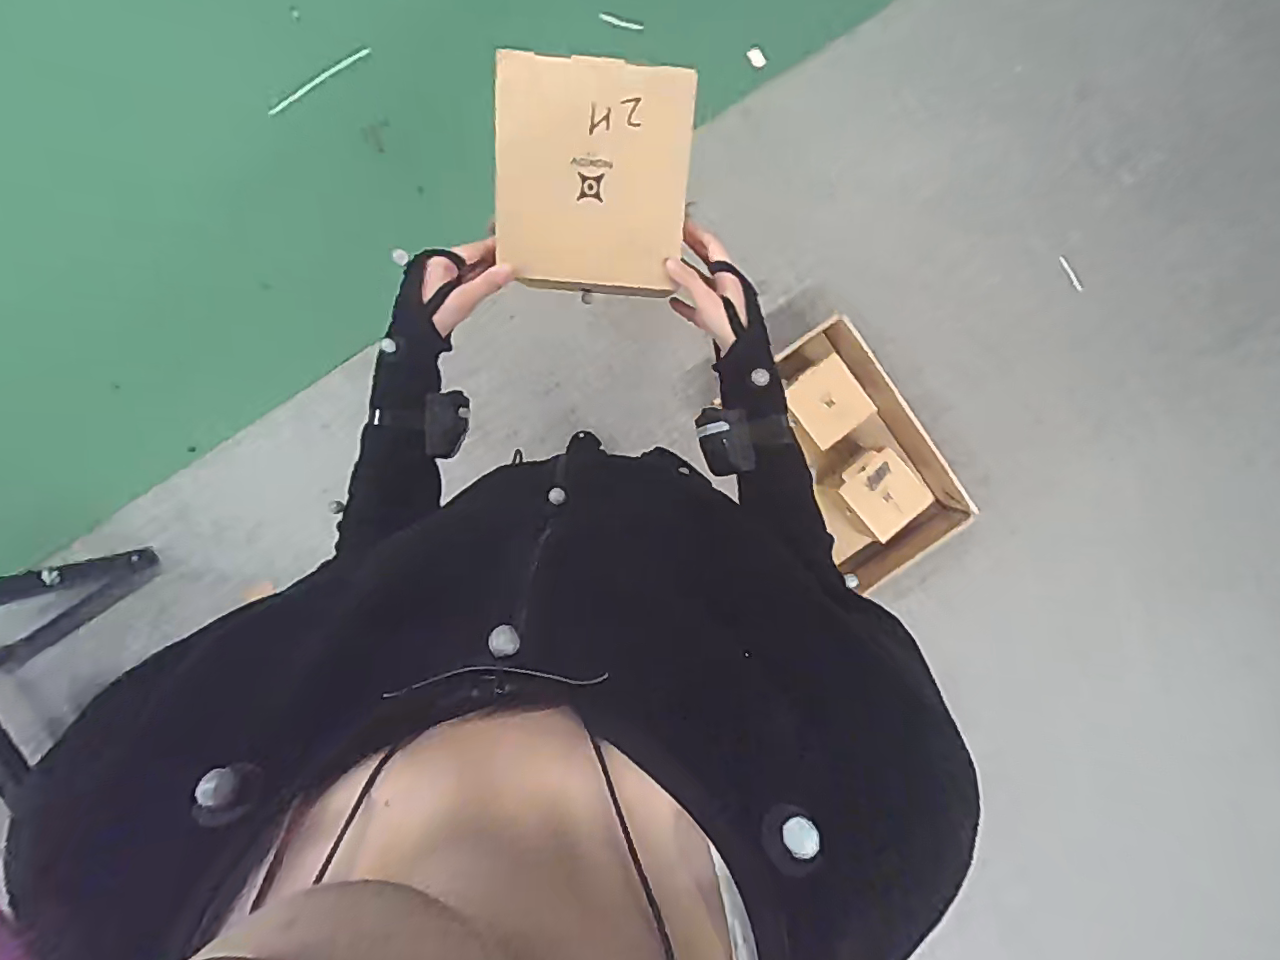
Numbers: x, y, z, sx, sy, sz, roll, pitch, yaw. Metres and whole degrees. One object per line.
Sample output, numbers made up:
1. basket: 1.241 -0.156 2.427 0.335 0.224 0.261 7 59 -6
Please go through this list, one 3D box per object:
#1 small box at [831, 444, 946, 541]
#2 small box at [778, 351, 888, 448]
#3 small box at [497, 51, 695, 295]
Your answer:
1. small box: 0.617 0.028 1.370 0.168 0.176 0.179 -41 91 4
2. small box: 0.474 -0.195 1.359 0.168 0.176 0.179 -37 93 4
3. small box: -0.041 -0.285 0.544 0.168 0.176 0.179 4 105 -2
